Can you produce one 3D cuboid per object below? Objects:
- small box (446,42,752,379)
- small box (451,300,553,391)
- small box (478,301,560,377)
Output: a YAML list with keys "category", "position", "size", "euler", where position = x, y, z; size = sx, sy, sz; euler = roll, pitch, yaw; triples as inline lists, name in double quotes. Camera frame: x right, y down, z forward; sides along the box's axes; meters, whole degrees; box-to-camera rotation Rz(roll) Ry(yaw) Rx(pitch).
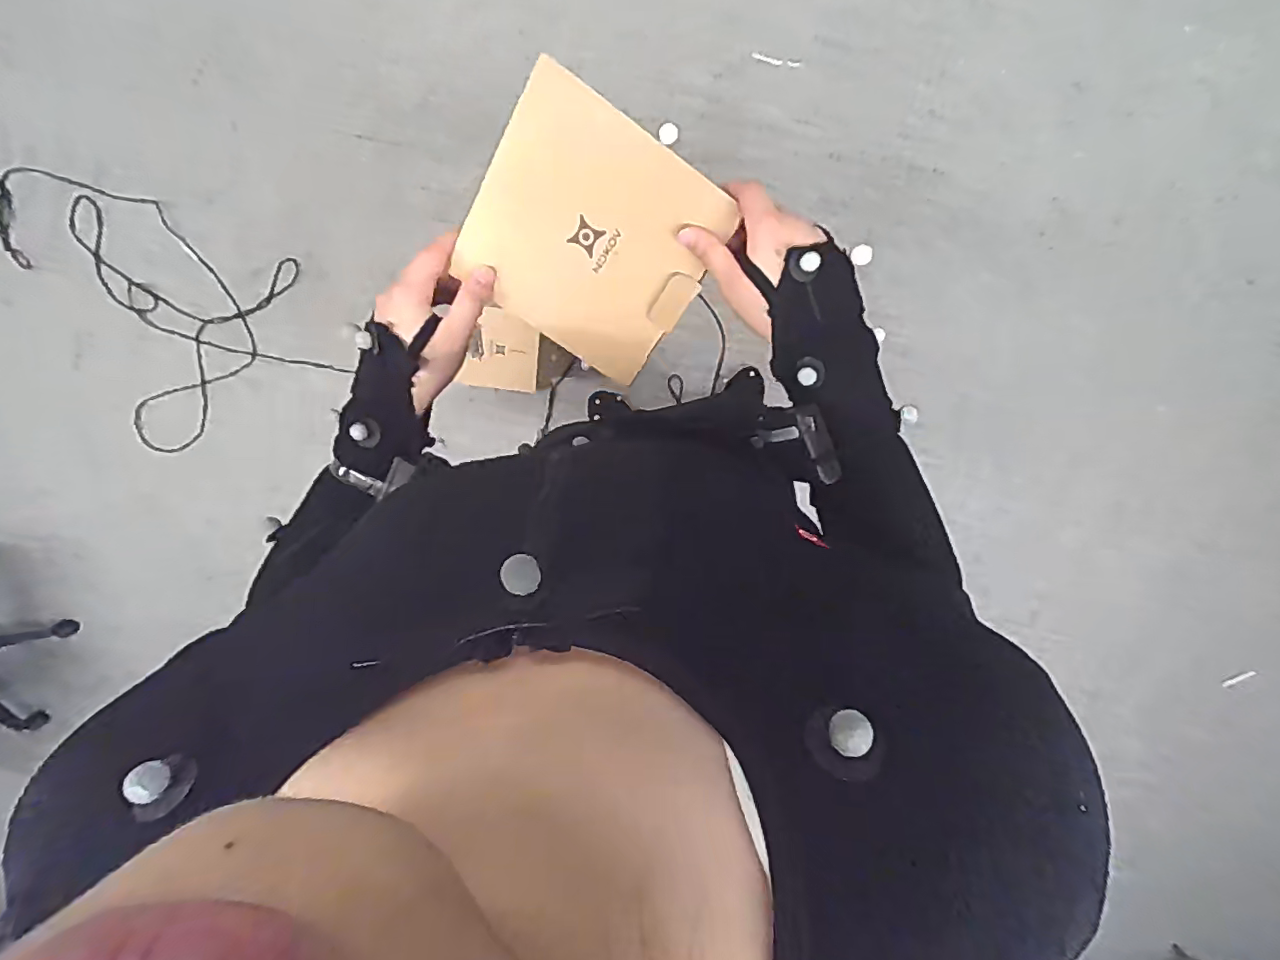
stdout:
- category: "small box"
  position: [-0.032, -0.222, 0.473]
  size: [0.179, 0.176, 0.168]
  euler: [31, 115, -15]
- category: "small box"
  position: [-0.296, -0.292, 1.184]
  size: [0.179, 0.176, 0.168]
  euler: [6, 104, -1]
- category: "small box"
  position: [-0.293, -0.347, 1.339]
  size: [0.179, 0.176, 0.168]
  euler: [3, 103, 2]
